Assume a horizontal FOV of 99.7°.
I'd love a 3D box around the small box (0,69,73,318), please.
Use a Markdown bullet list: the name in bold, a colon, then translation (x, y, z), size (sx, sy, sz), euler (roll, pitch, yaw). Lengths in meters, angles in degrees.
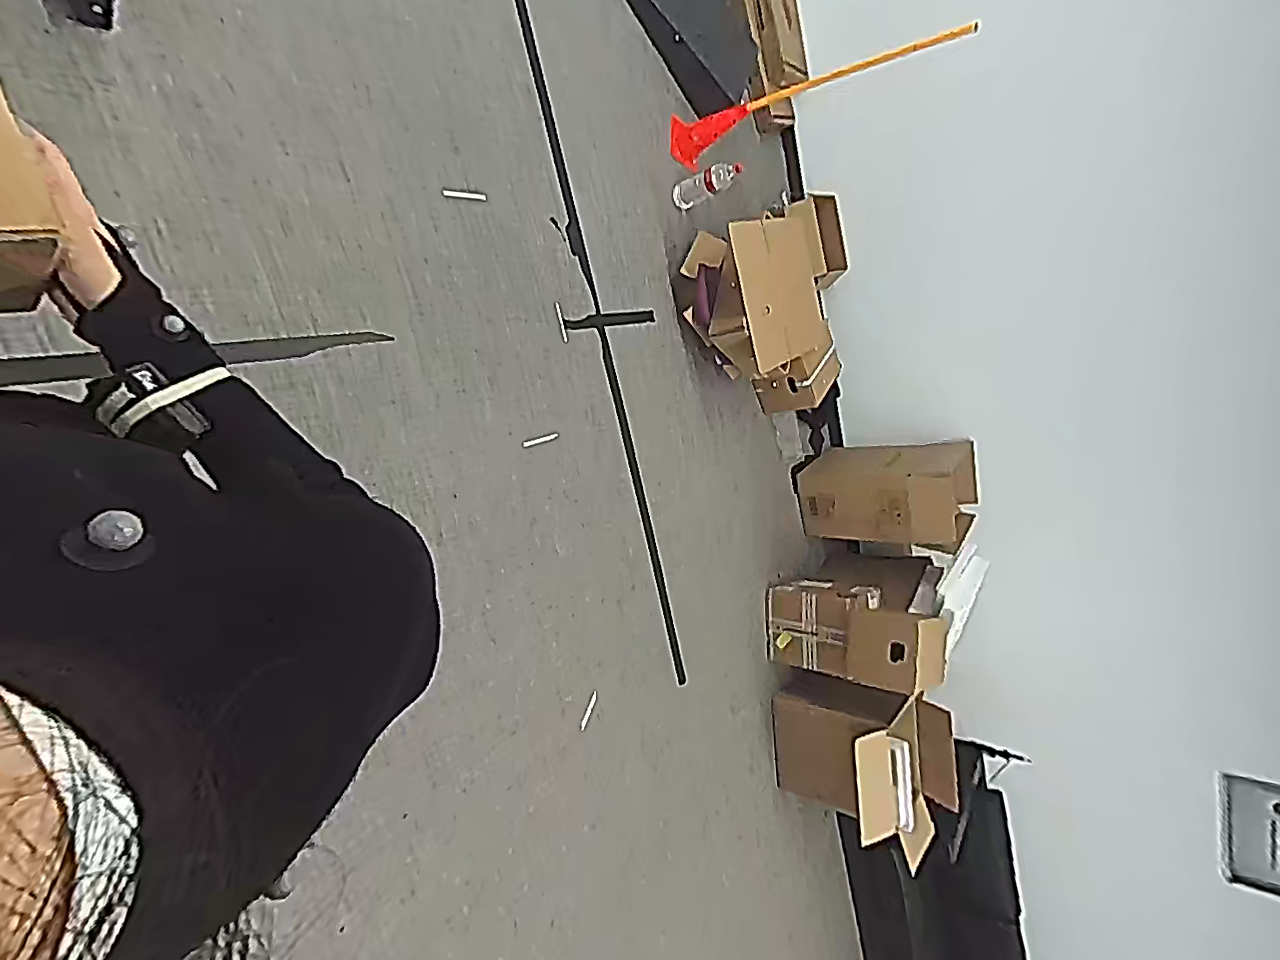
- **small box**: translation (-0.455, -0.185, 0.284), size (0.168, 0.176, 0.179), euler (-30, 108, -50)
